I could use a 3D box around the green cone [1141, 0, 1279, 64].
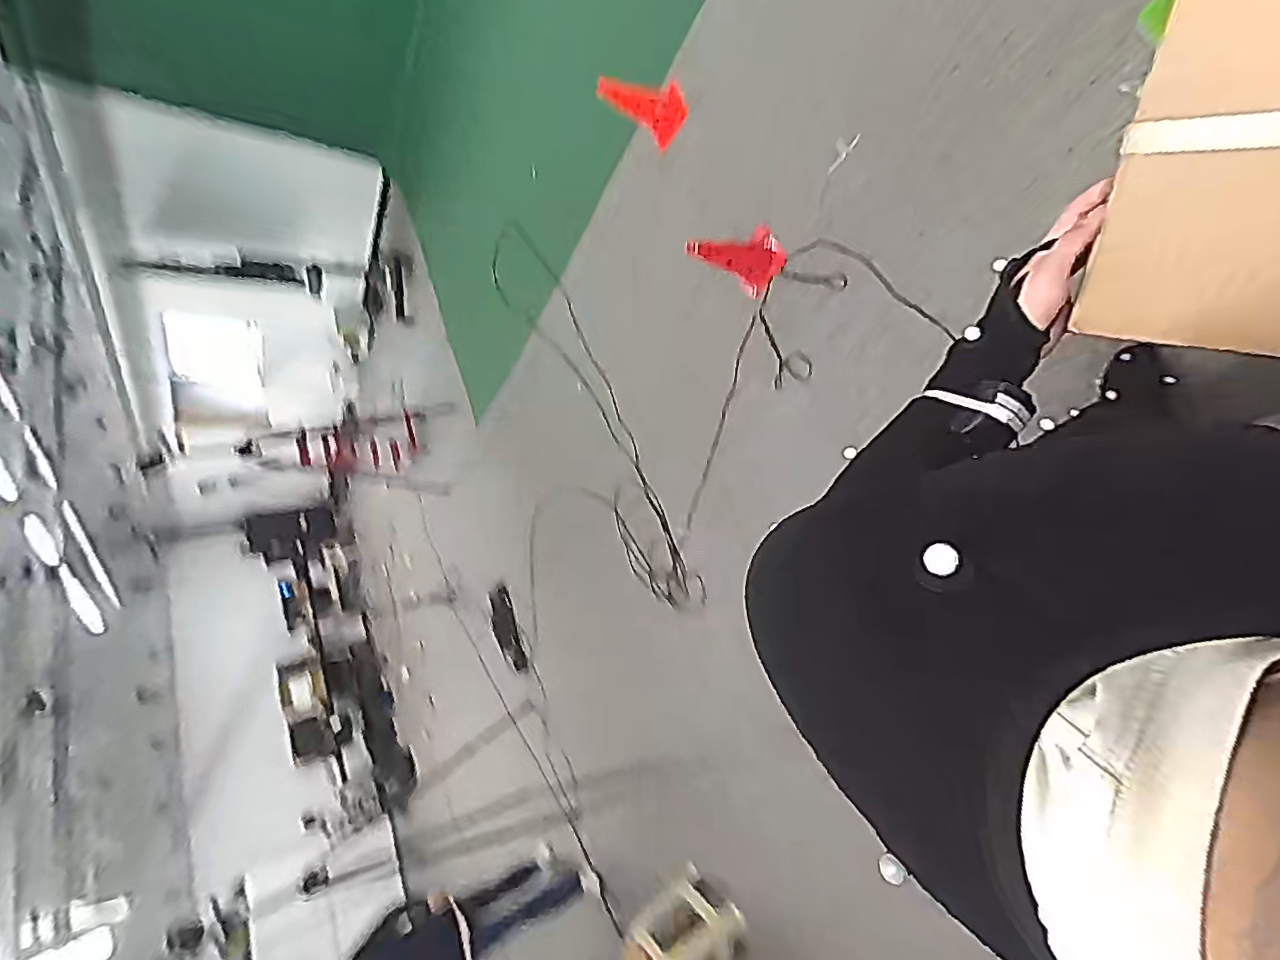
[{"bbox_3d":[1.027,-0.965,0.968,0.200,0.368,0.202,-37,66,48],"label":"green cone"}]

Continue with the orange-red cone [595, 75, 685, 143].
[{"bbox_3d":[-0.027,-1.557,2.195,0.199,0.360,0.198,-35,68,50],"label":"orange-red cone"}]
